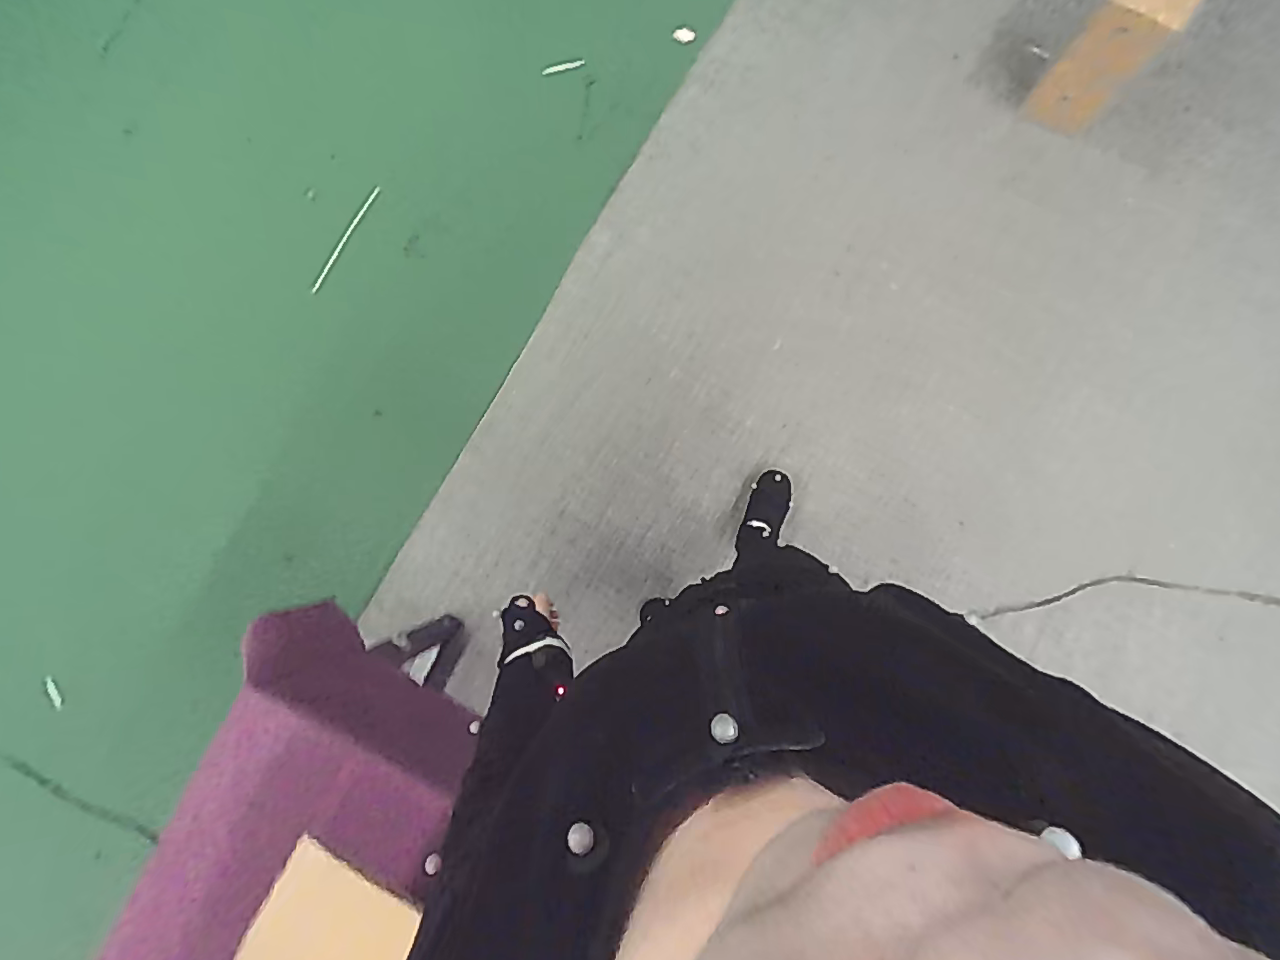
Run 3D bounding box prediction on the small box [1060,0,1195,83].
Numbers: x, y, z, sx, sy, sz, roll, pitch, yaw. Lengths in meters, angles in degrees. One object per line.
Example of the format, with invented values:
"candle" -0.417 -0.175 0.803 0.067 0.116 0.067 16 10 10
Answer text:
"small box" 1.168 -1.105 1.290 0.179 0.176 0.168 33 89 6
